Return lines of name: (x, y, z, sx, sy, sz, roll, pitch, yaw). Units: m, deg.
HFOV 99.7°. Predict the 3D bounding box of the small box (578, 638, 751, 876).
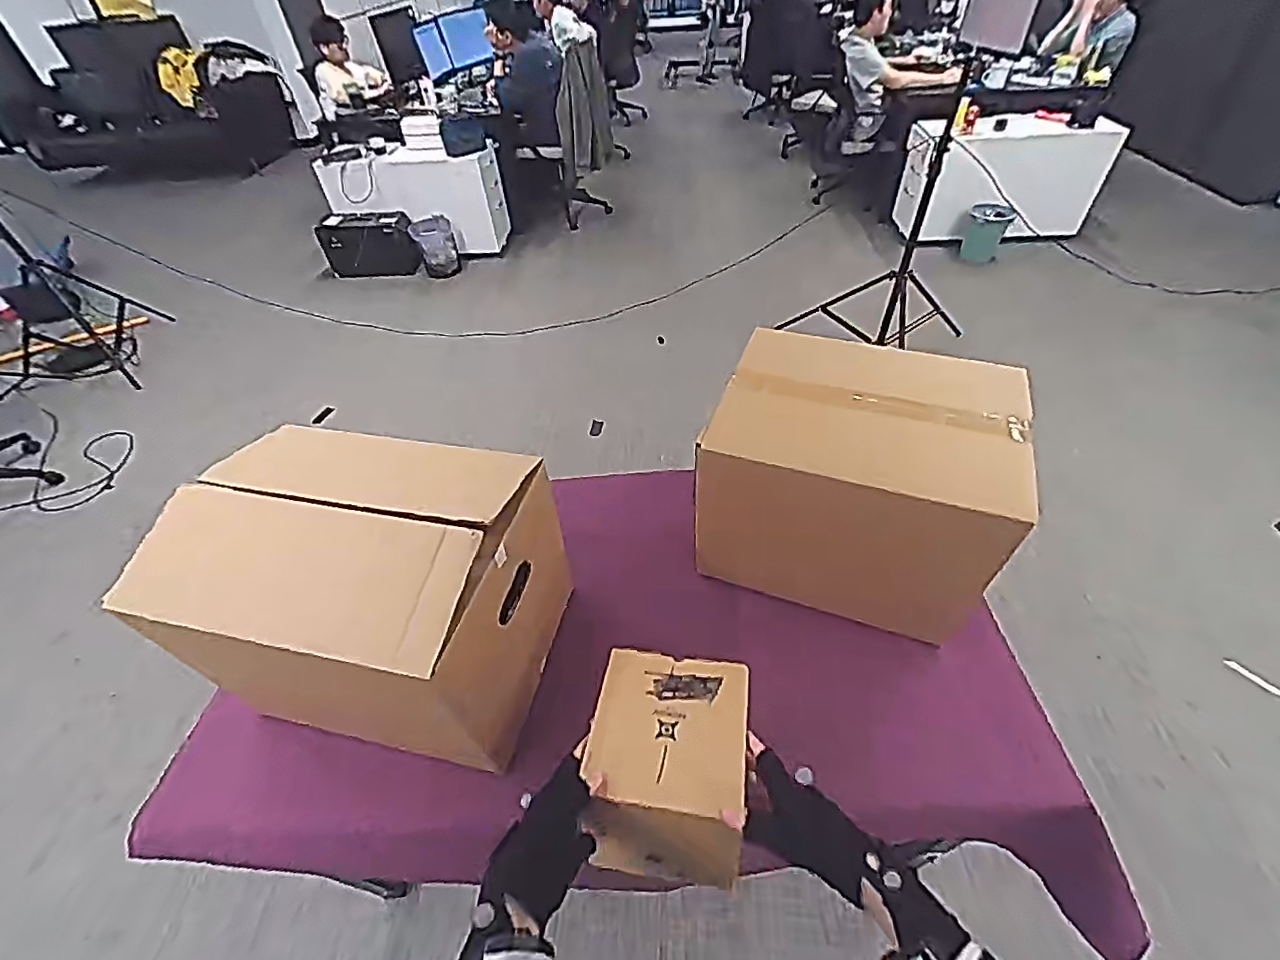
small box: (0.037, 0.314, 0.626, 0.168, 0.176, 0.179, 4, 37, 11)
